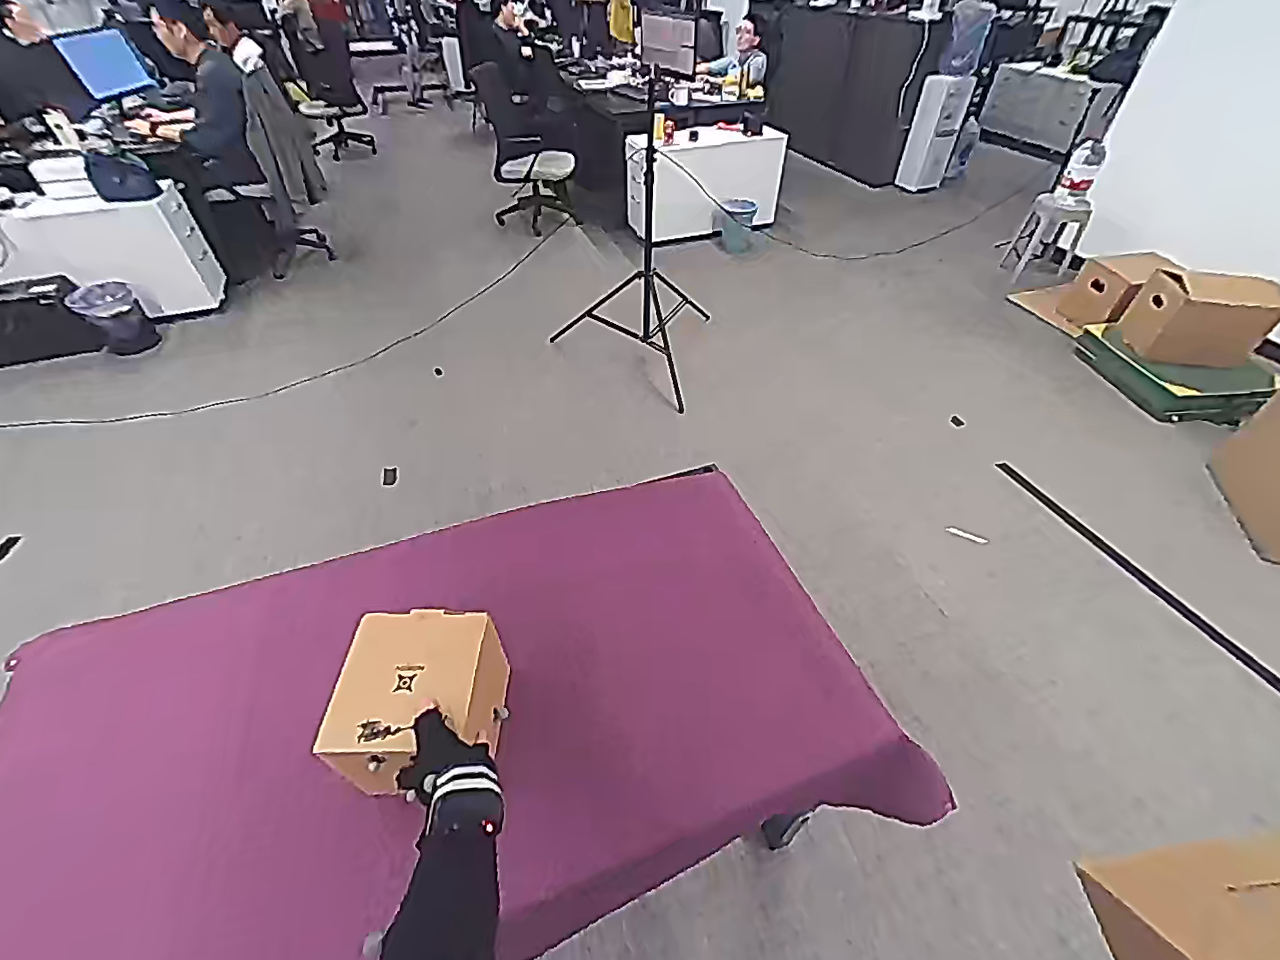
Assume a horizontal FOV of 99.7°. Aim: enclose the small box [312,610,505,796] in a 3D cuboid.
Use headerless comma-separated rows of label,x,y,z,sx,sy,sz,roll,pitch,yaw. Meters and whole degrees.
small box,-0.280,0.290,0.706,0.168,0.176,0.179,0,46,0
